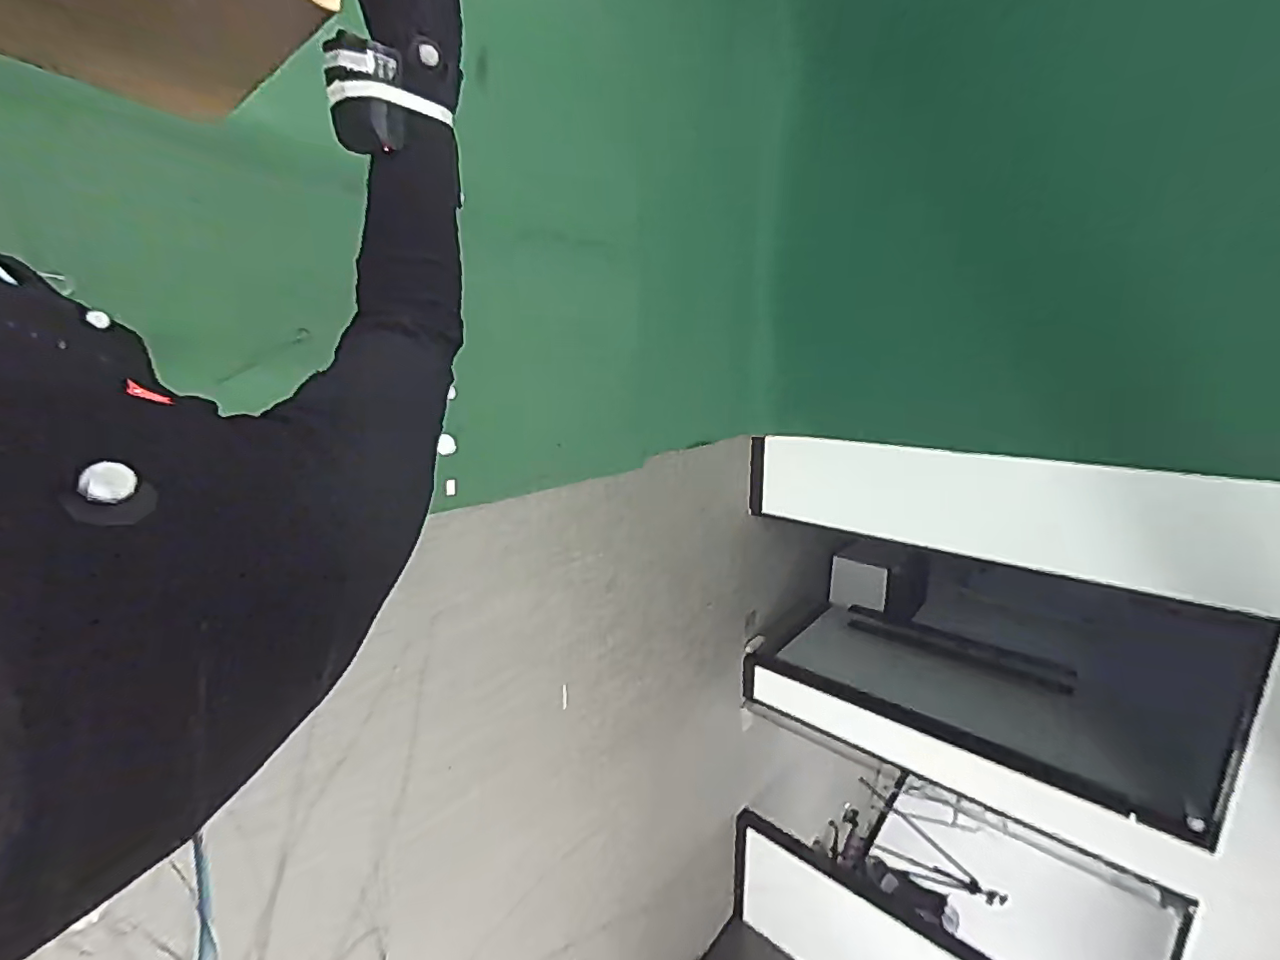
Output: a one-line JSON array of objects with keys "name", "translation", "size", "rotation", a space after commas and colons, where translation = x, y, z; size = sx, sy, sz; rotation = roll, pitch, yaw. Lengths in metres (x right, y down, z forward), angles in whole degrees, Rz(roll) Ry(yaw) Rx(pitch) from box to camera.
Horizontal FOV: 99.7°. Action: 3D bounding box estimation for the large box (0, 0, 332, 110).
[{"name": "large box", "translation": [-0.423, -0.473, 0.272], "size": [0.408, 0.320, 0.320], "rotation": [-5, 105, -50]}]
